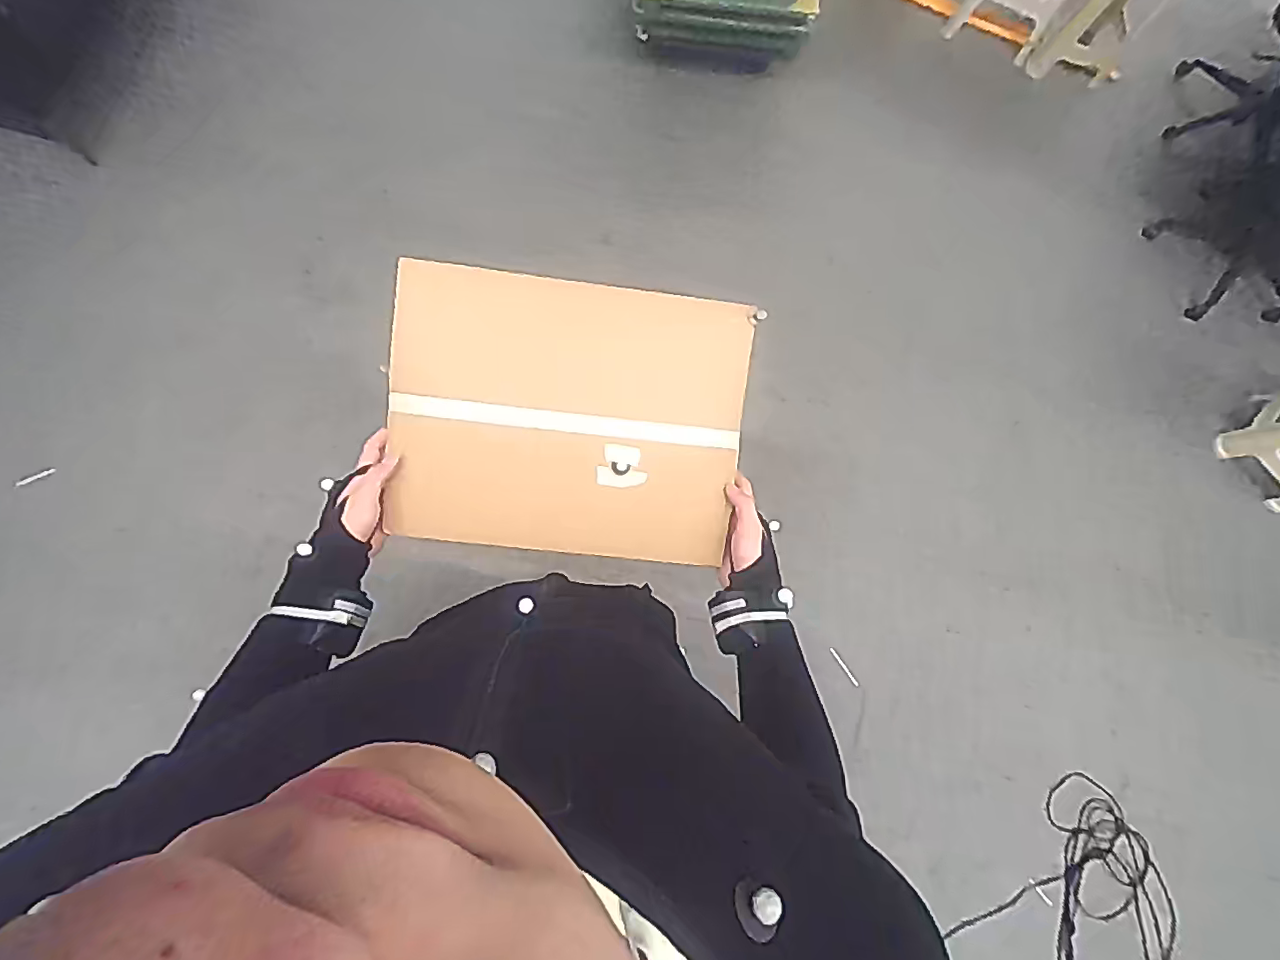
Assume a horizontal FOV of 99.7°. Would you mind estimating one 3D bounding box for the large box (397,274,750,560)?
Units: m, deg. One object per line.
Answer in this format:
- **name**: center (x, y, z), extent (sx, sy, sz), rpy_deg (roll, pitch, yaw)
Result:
- **large box**: center (-0.091, -0.082, 0.785), extent (0.408, 0.320, 0.320), rpy_deg (5, 97, -5)
